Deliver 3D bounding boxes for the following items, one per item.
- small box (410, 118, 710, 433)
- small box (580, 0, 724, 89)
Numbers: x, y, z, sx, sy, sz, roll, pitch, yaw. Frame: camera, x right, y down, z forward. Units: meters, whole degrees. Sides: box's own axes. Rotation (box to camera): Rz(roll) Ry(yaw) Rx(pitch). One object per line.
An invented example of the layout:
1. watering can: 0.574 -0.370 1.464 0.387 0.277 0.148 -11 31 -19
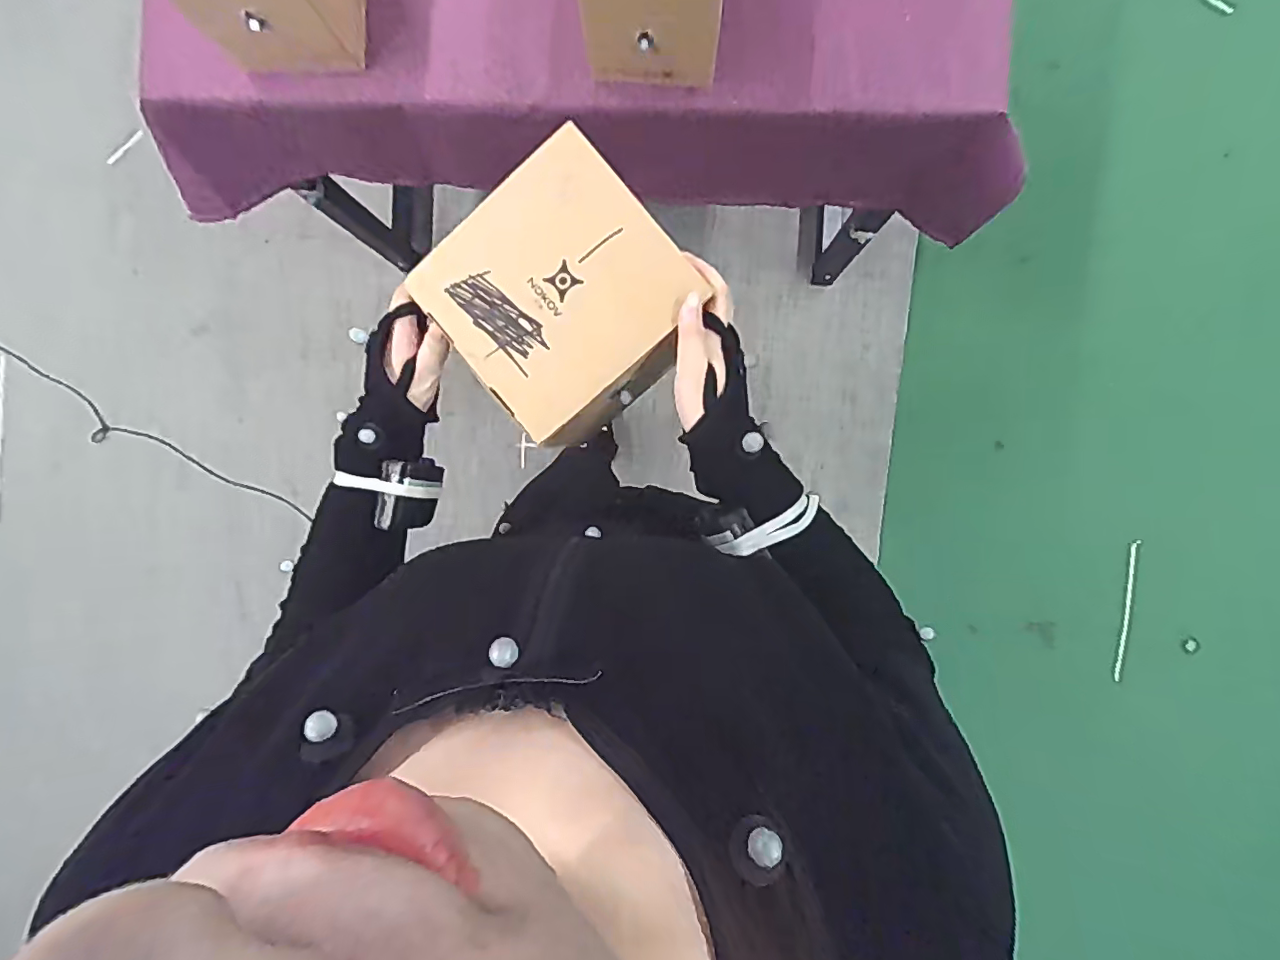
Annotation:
1. small box: -0.055 -0.155 0.482 0.179 0.176 0.168 -39 91 6
2. small box: 0.024 -0.620 0.658 0.168 0.176 0.179 6 91 2
